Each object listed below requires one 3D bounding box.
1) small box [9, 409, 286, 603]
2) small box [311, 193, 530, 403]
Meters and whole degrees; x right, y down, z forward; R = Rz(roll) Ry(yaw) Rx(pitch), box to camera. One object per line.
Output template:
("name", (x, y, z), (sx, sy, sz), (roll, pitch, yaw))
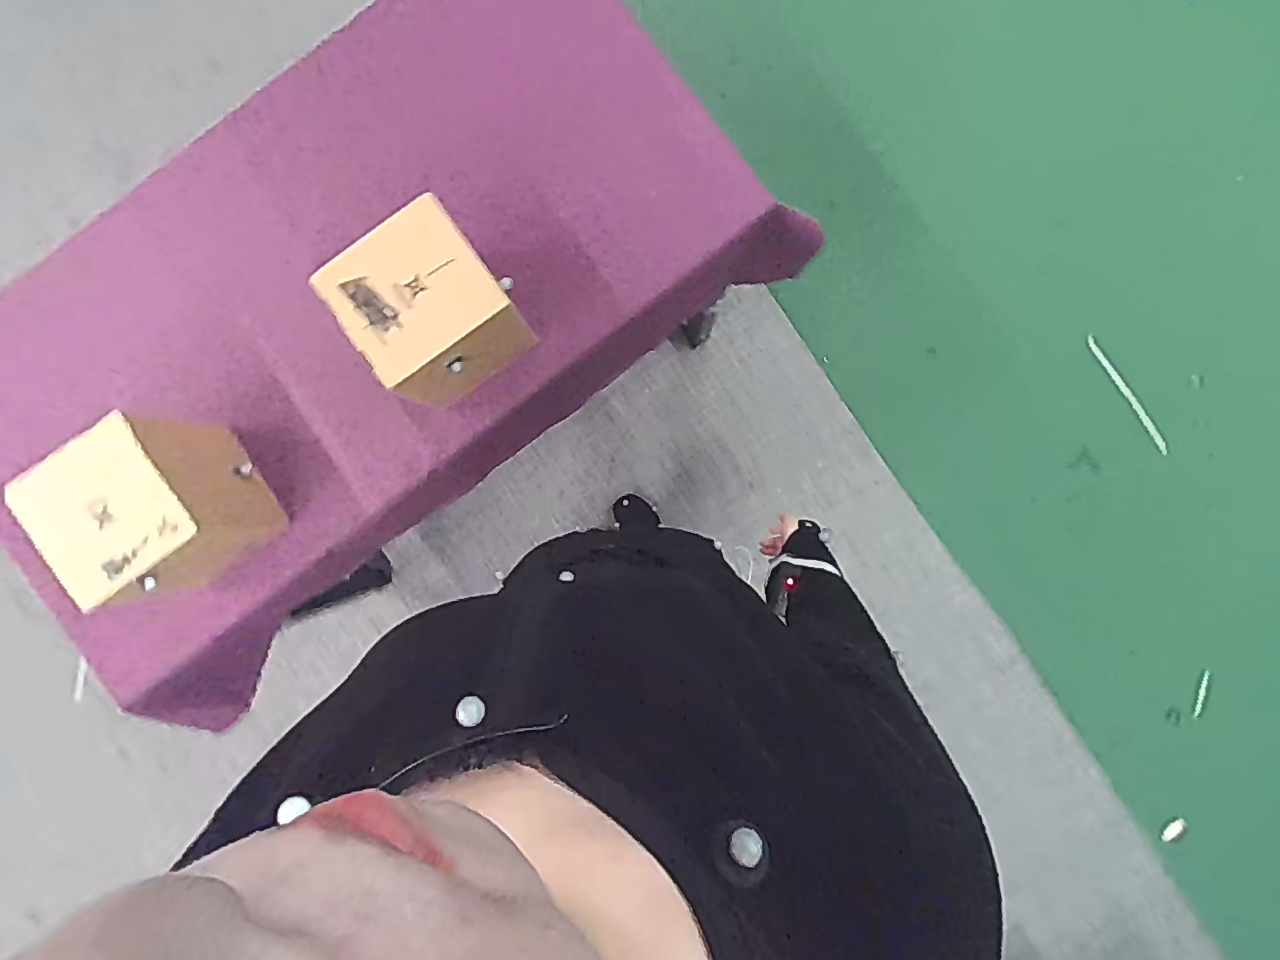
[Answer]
("small box", (-0.624, 0.033, 0.710), (0.168, 0.176, 0.179), (-35, 88, 1))
("small box", (-0.269, -0.220, 0.708), (0.179, 0.176, 0.168), (-36, 89, 0))
